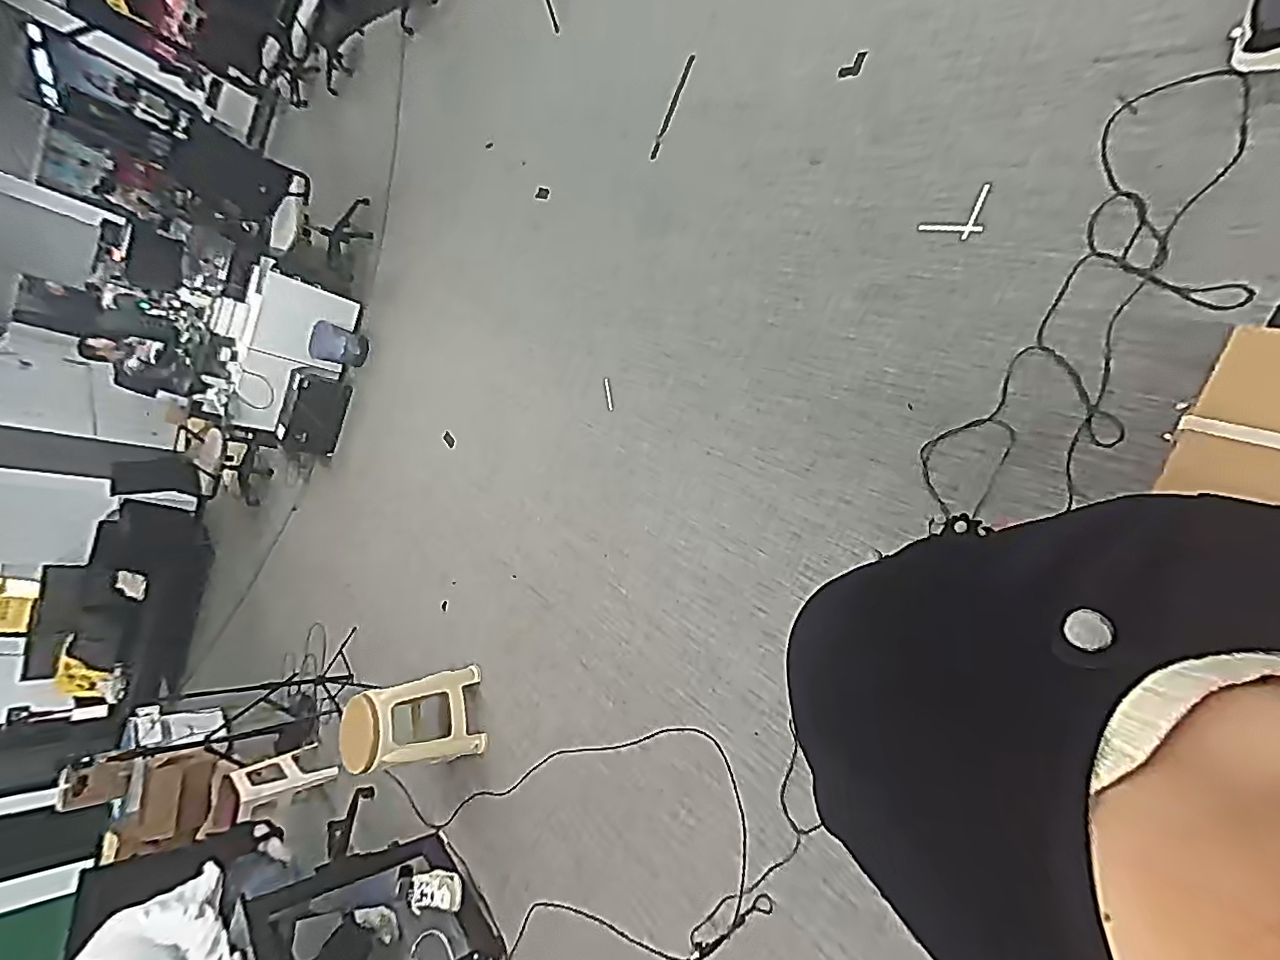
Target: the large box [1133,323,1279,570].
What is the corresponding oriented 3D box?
[{"bbox_3d":[1.063,-0.008,0.811,0.408,0.320,0.320,27,100,40],"label":"large box"}]
